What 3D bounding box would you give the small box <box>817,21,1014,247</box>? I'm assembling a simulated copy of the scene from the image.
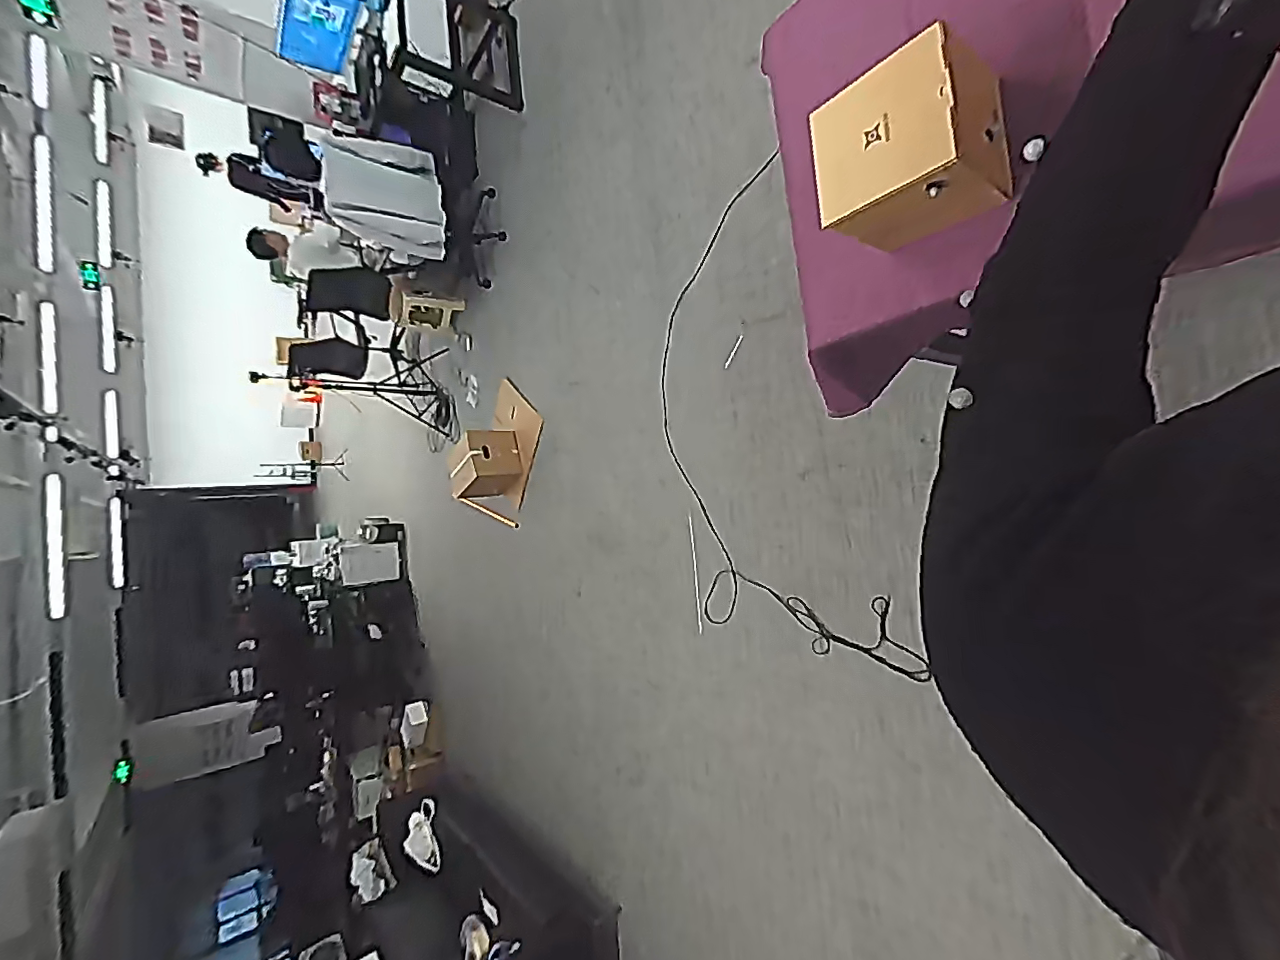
[{"bbox_3d":[0.368,-0.441,0.730,0.179,0.176,0.168,-9,84,52],"label":"small box"}]
